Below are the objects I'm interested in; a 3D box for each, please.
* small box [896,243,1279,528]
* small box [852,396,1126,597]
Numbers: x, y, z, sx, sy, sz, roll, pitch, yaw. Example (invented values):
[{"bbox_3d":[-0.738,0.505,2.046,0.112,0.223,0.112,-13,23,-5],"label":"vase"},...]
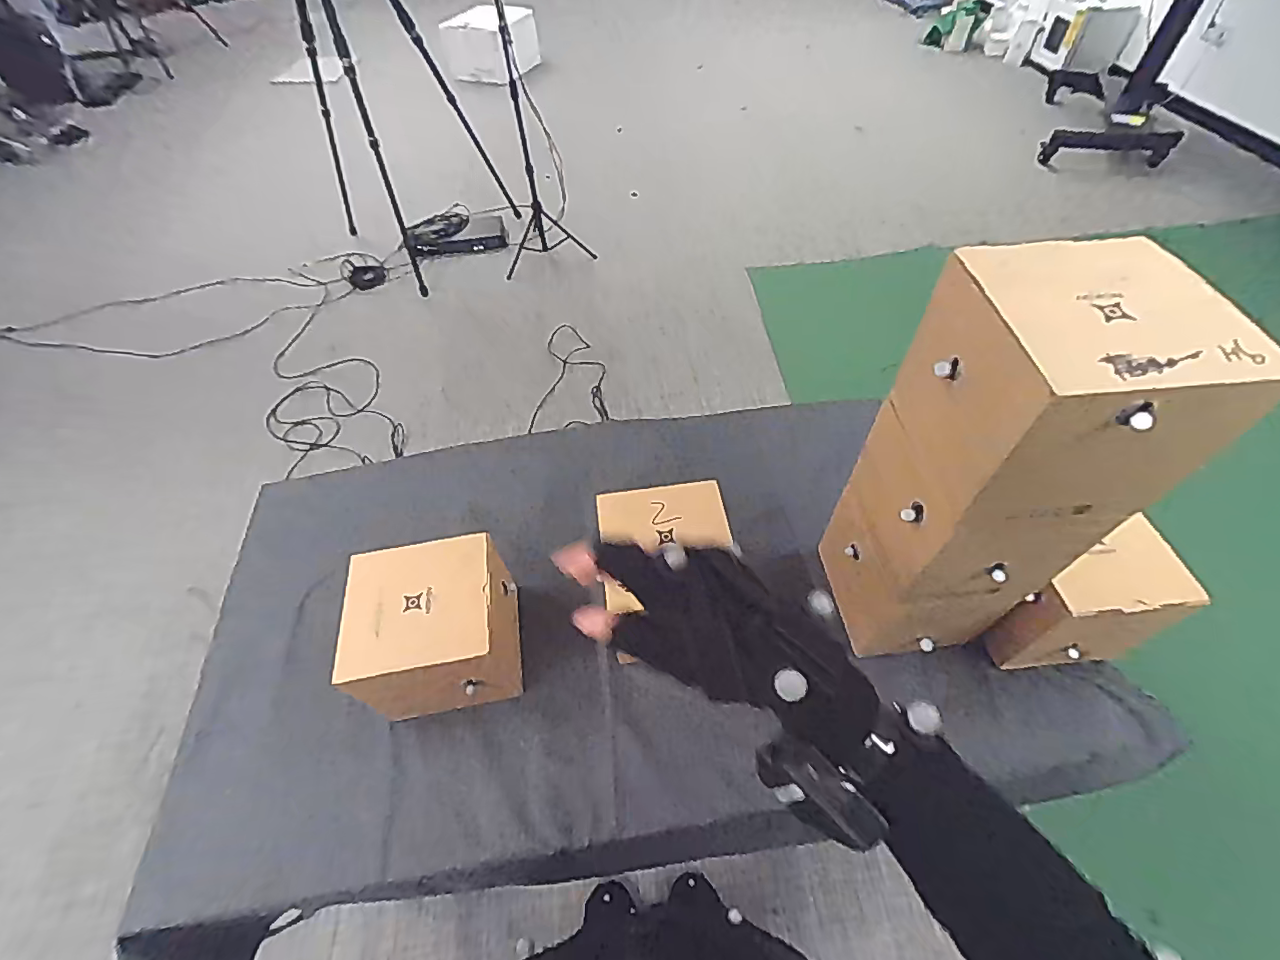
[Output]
[{"bbox_3d":[0.350,-0.079,0.469,0.168,0.176,0.179,-4,52,1],"label":"small box"},{"bbox_3d":[0.359,0.020,0.601,0.168,0.176,0.179,-5,52,-1],"label":"small box"}]
